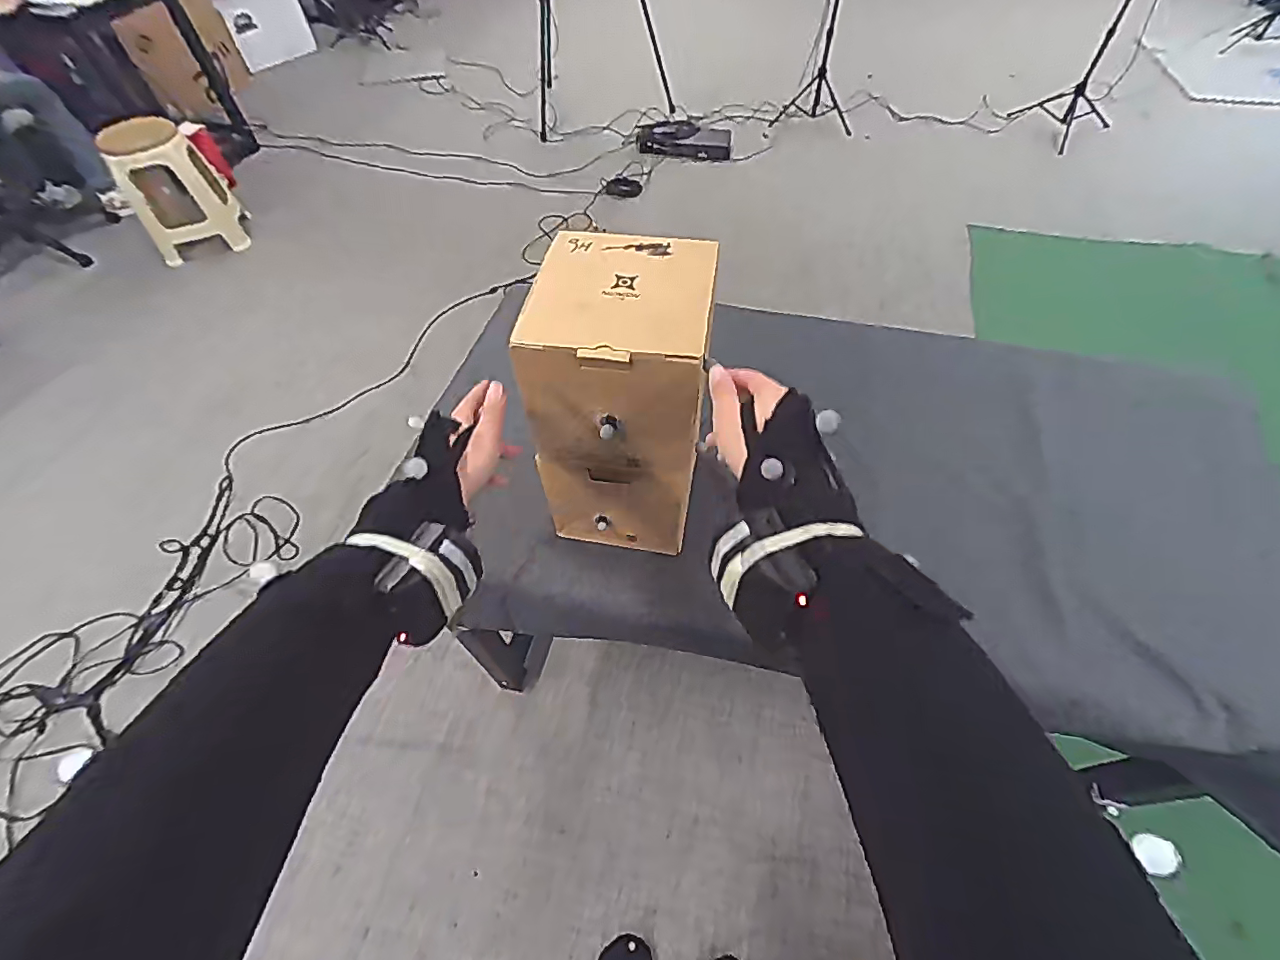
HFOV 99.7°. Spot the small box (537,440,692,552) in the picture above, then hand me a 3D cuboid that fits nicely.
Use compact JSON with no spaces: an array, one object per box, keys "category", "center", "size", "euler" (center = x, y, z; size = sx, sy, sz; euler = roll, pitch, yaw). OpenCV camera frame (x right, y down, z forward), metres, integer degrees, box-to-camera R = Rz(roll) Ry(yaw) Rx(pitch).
[{"category":"small box","center":[-0.018,-0.033,0.687],"size":[0.168,0.176,0.179],"euler":[8,55,7]}]

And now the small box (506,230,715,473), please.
[{"category":"small box","center":[-0.017,-0.125,0.552],"size":[0.168,0.176,0.179],"euler":[6,56,6]}]
